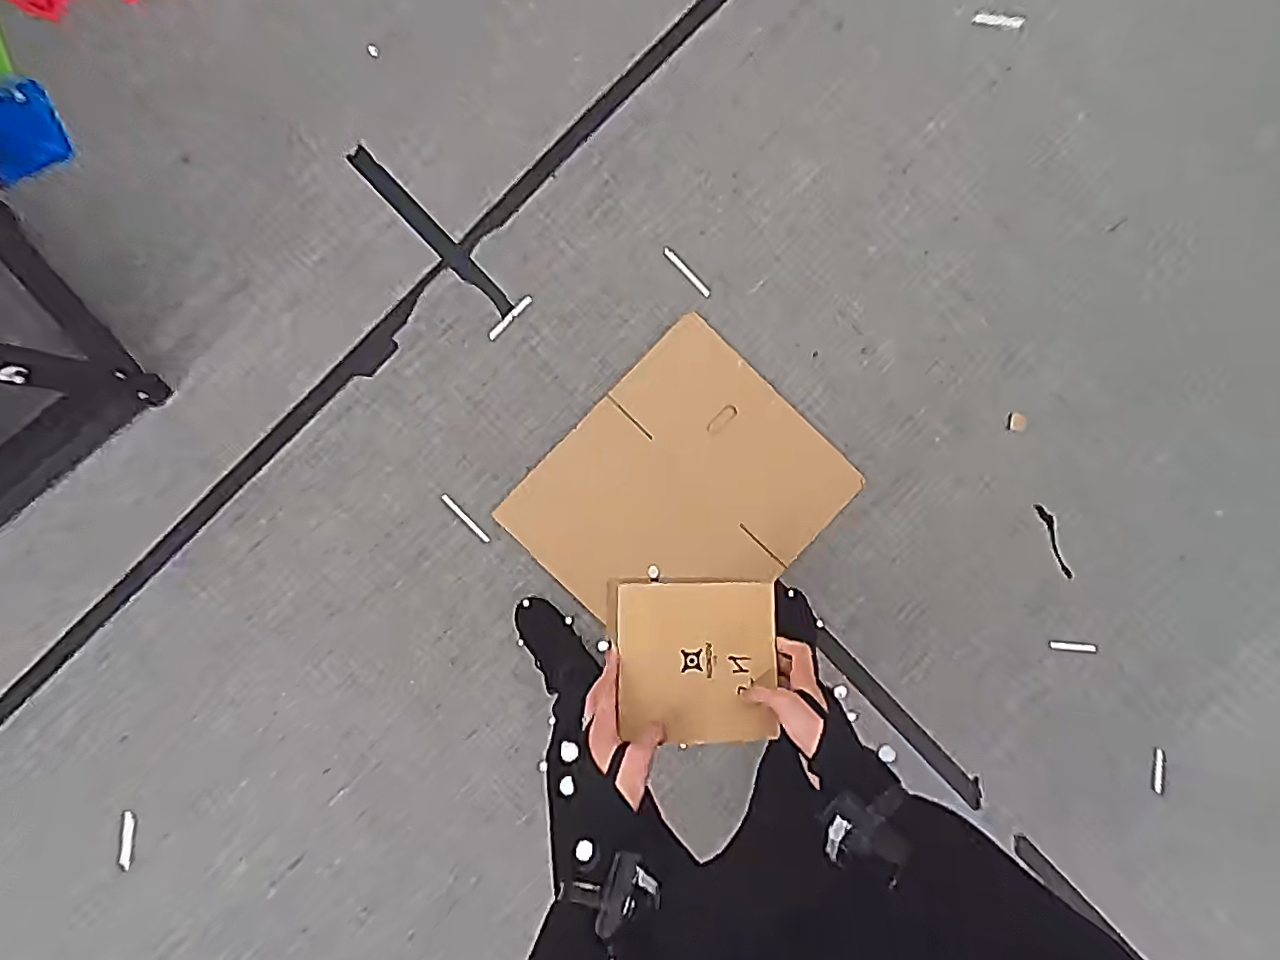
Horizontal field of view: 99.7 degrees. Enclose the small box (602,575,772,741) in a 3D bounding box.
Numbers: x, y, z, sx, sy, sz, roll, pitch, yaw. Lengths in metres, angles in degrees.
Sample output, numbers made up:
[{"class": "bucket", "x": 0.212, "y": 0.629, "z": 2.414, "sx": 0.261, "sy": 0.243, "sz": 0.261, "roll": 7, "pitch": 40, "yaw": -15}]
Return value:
[{"class": "small box", "x": 0.046, "y": 0.203, "z": 0.654, "sx": 0.179, "sy": 0.176, "sz": 0.168, "roll": 2, "pitch": 82, "yaw": -8}]
